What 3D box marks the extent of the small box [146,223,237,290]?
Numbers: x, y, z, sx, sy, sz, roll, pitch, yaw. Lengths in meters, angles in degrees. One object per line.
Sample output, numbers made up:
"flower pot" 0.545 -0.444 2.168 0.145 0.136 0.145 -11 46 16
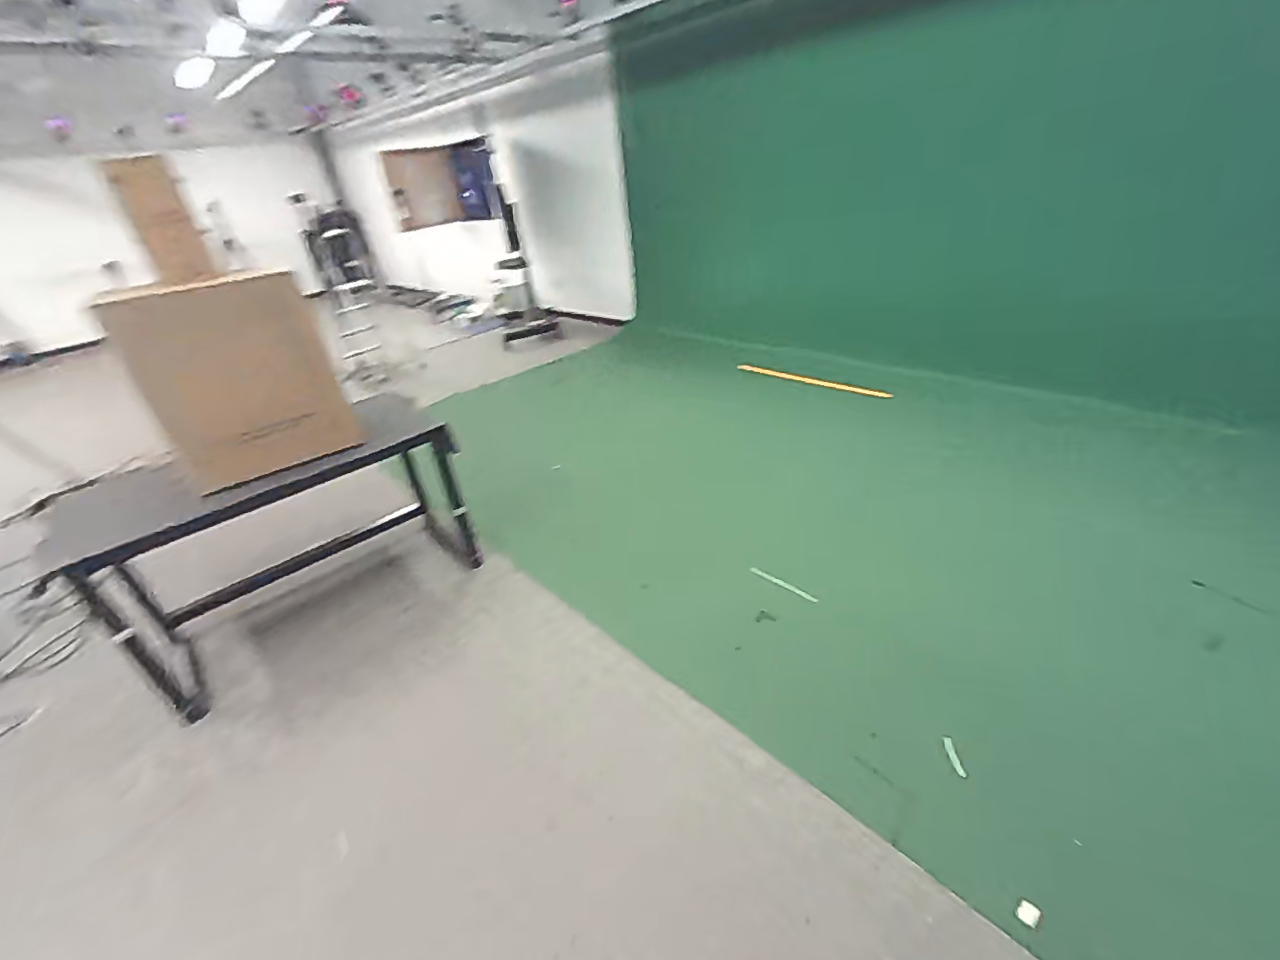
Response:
"small box" -1.380 -0.694 1.673 0.168 0.176 0.179 -24 36 -28
